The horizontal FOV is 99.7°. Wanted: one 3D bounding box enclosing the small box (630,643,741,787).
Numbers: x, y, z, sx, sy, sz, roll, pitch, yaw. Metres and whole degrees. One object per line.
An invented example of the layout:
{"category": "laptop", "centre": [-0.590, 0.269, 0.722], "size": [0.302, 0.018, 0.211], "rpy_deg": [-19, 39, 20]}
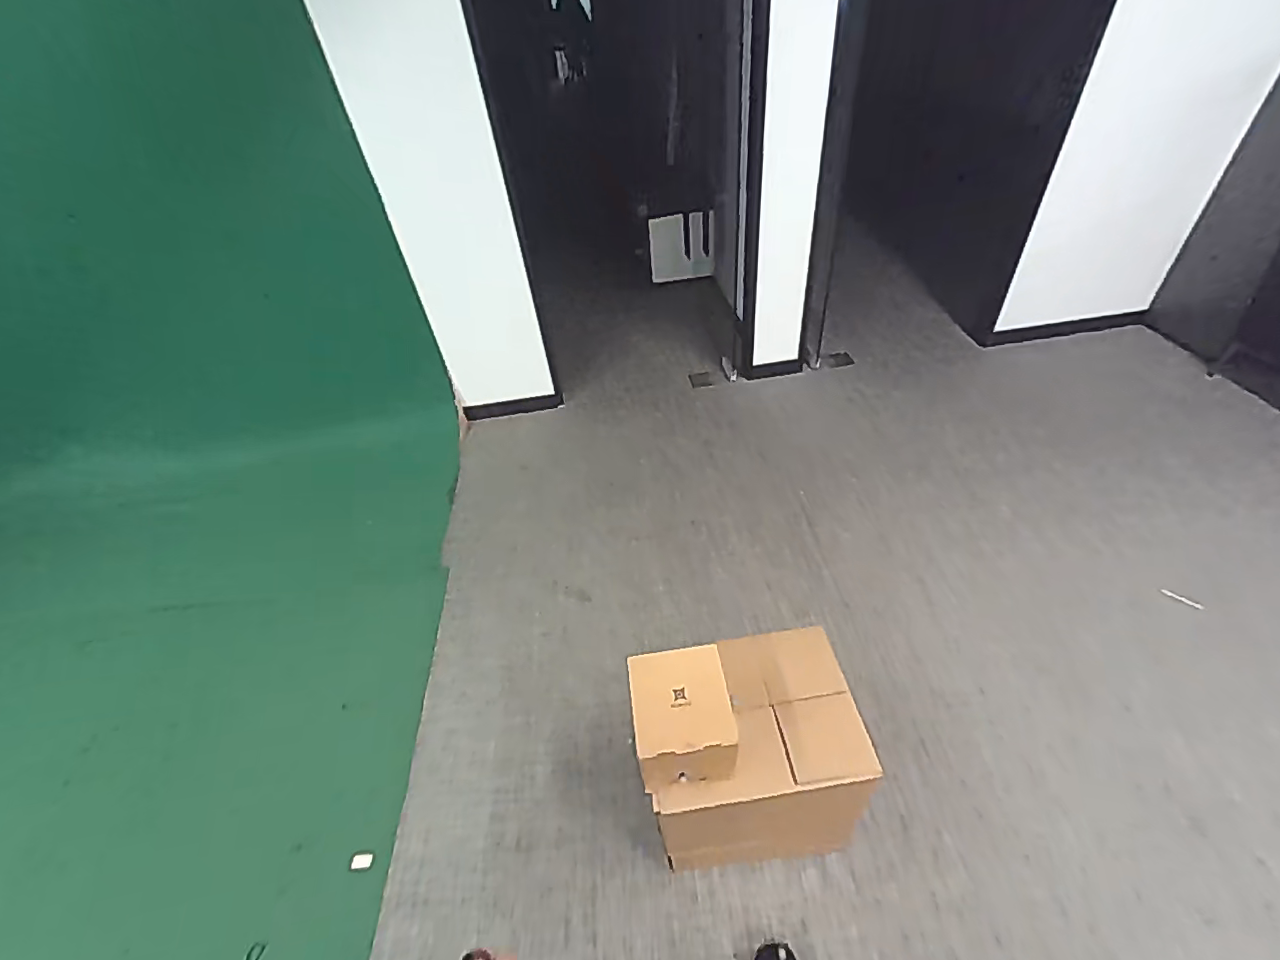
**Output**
{"category": "small box", "centre": [0.076, 0.419, 0.966], "size": [0.168, 0.176, 0.179], "rpy_deg": [-8, 45, -2]}
